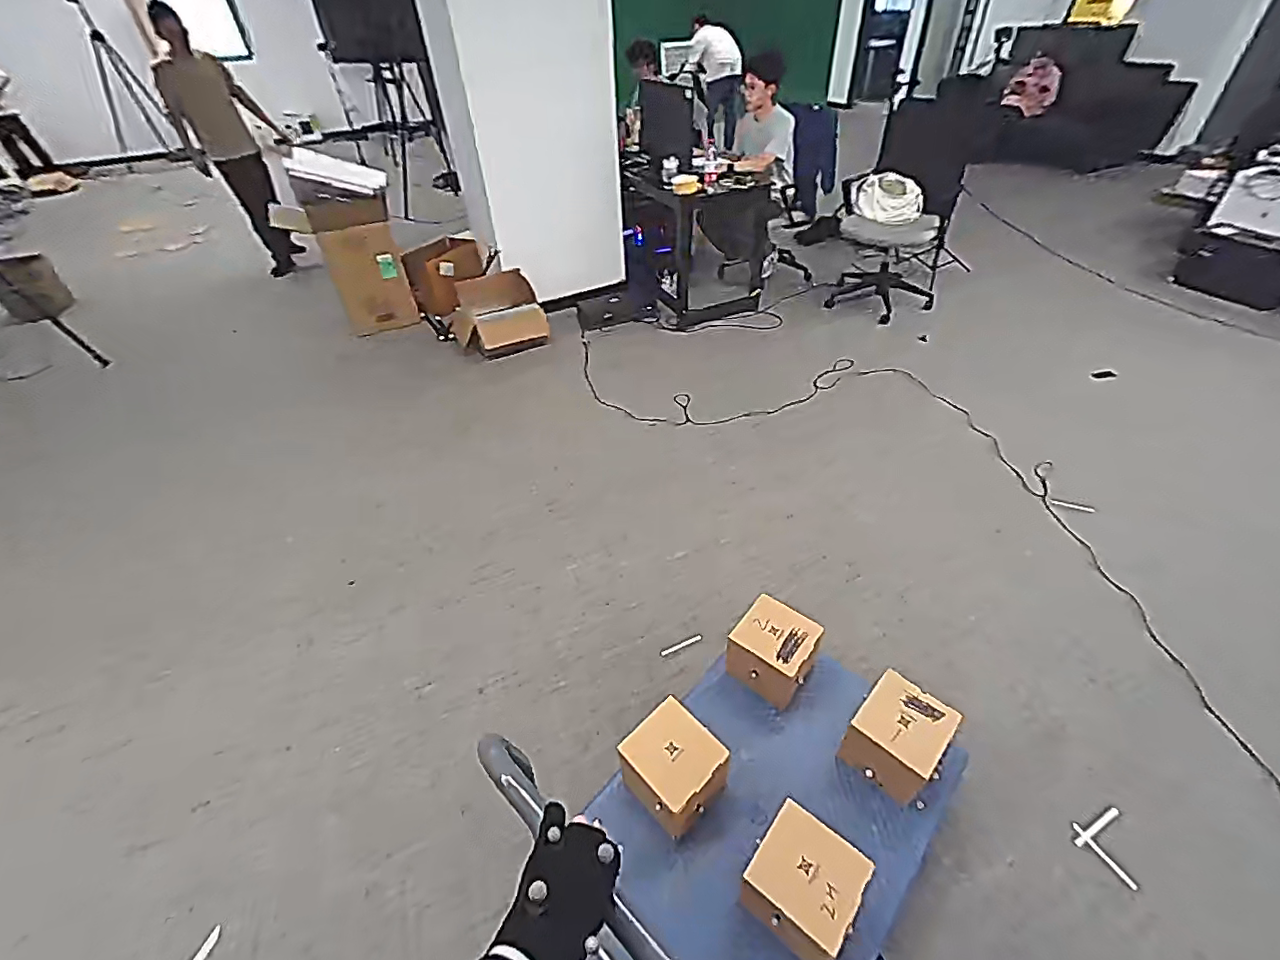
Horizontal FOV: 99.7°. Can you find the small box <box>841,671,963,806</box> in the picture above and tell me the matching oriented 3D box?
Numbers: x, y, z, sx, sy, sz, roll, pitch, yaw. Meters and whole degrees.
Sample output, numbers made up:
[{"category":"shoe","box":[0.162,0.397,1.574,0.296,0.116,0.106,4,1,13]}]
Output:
[{"category":"small box","box":[0.564,0.567,1.187,0.179,0.176,0.168,-36,51,-29]}]

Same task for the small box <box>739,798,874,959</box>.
[{"category":"small box","box":[0.299,0.747,1.003,0.179,0.176,0.168,29,51,31]}]

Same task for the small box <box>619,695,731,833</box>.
[{"category":"small box","box":[0.072,0.615,1.166,0.168,0.176,0.179,-33,51,-30]}]
